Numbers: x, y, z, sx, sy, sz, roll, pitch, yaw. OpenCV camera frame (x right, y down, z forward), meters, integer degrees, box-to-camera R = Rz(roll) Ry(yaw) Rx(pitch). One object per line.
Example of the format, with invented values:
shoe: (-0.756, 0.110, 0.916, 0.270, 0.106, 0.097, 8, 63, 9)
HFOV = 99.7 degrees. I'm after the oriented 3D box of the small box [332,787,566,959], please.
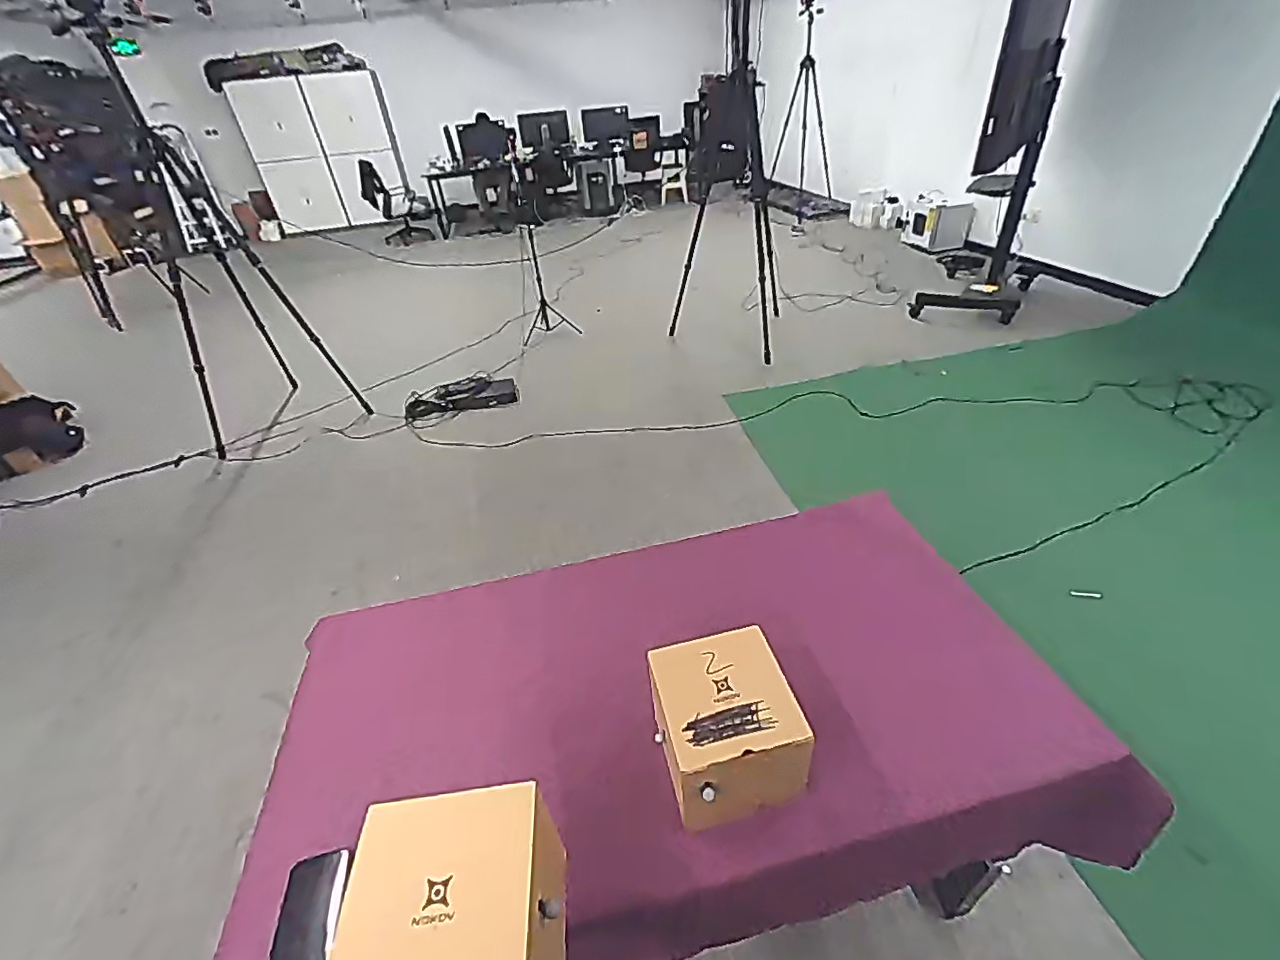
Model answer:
small box: (-0.167, 0.430, 0.515, 0.168, 0.176, 0.179, -7, 37, -2)
